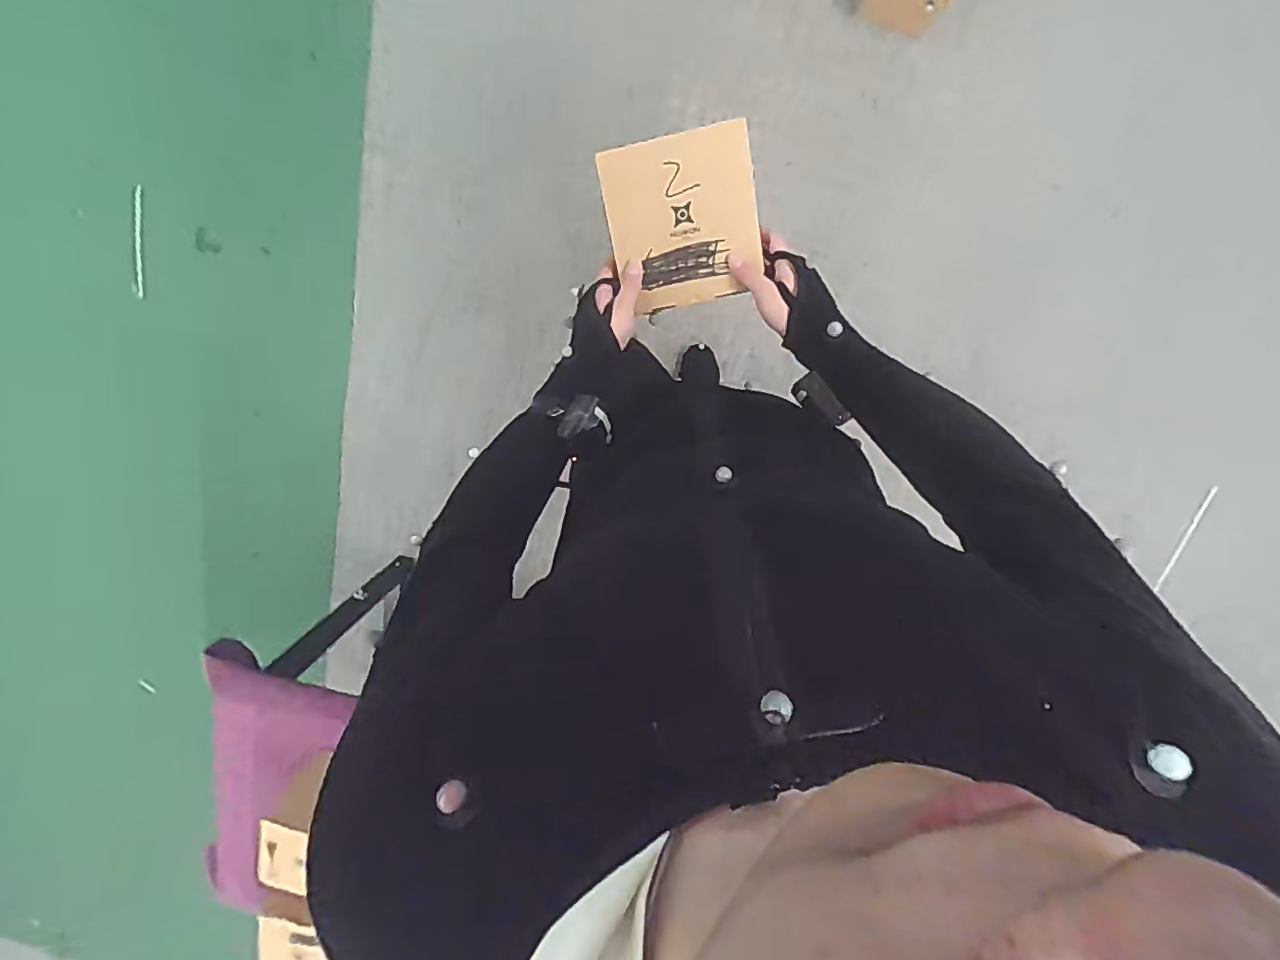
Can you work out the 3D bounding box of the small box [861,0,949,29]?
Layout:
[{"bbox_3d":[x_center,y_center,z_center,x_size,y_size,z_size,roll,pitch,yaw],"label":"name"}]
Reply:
[{"bbox_3d":[0.604,-1.122,1.162,0.179,0.176,0.168,16,107,0],"label":"small box"}]

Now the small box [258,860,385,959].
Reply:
[{"bbox_3d":[-0.657,0.908,1.129,0.168,0.176,0.179,14,108,1],"label":"small box"}]

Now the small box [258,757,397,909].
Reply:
[{"bbox_3d":[-0.599,0.676,1.053,0.179,0.176,0.168,15,108,0],"label":"small box"}]
